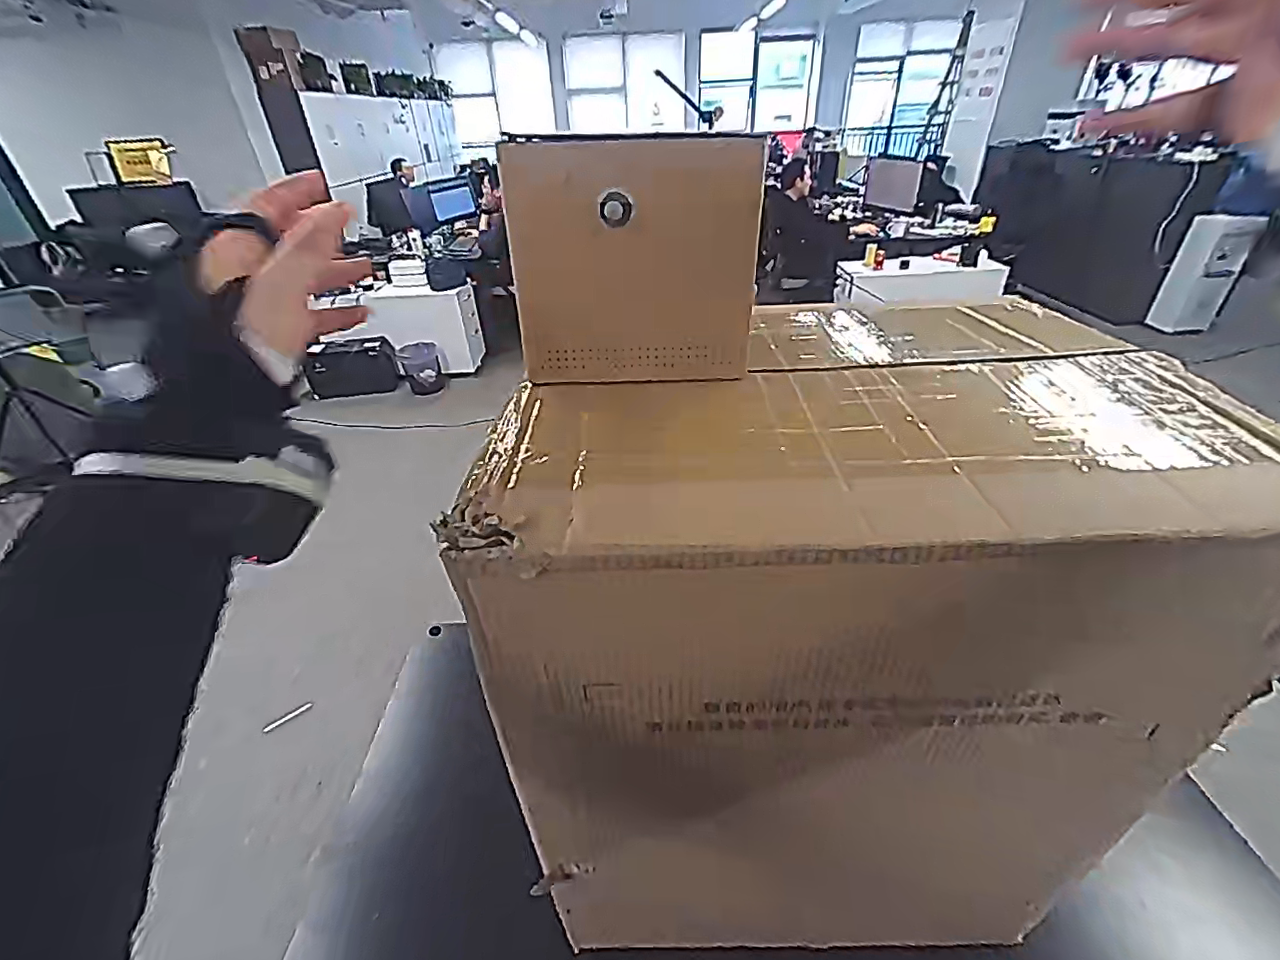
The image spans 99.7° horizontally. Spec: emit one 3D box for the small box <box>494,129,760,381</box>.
[{"bbox_3d":[-0.006,-0.188,0.453,0.179,0.176,0.168,-1,32,0],"label":"small box"}]
